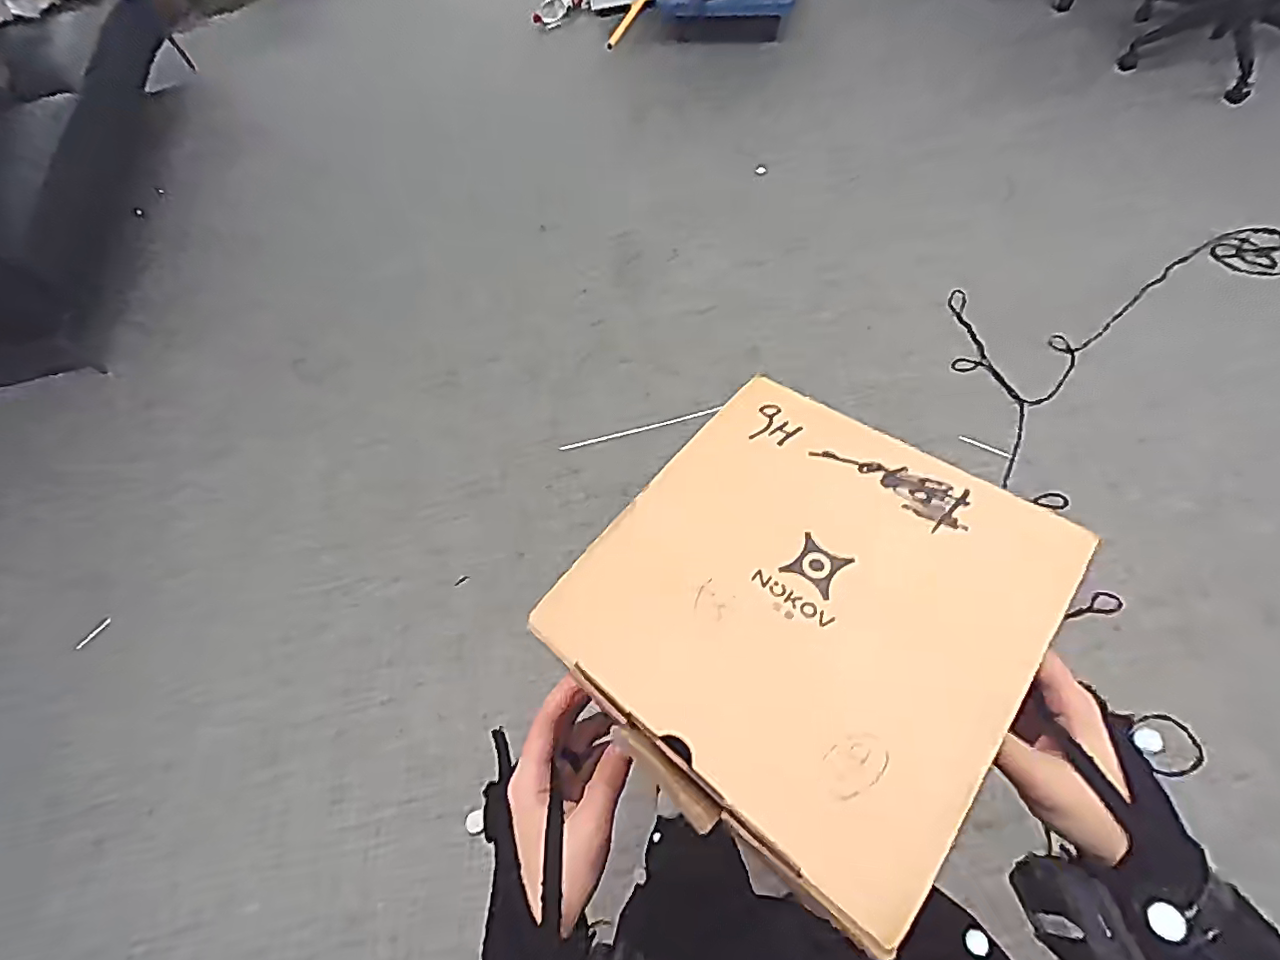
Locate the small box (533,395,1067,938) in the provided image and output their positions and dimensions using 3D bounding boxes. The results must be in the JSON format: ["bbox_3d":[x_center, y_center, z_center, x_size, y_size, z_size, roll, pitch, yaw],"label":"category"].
[{"bbox_3d":[0.077,0.094,0.300,0.168,0.176,0.179,33,67,27],"label":"small box"}]
